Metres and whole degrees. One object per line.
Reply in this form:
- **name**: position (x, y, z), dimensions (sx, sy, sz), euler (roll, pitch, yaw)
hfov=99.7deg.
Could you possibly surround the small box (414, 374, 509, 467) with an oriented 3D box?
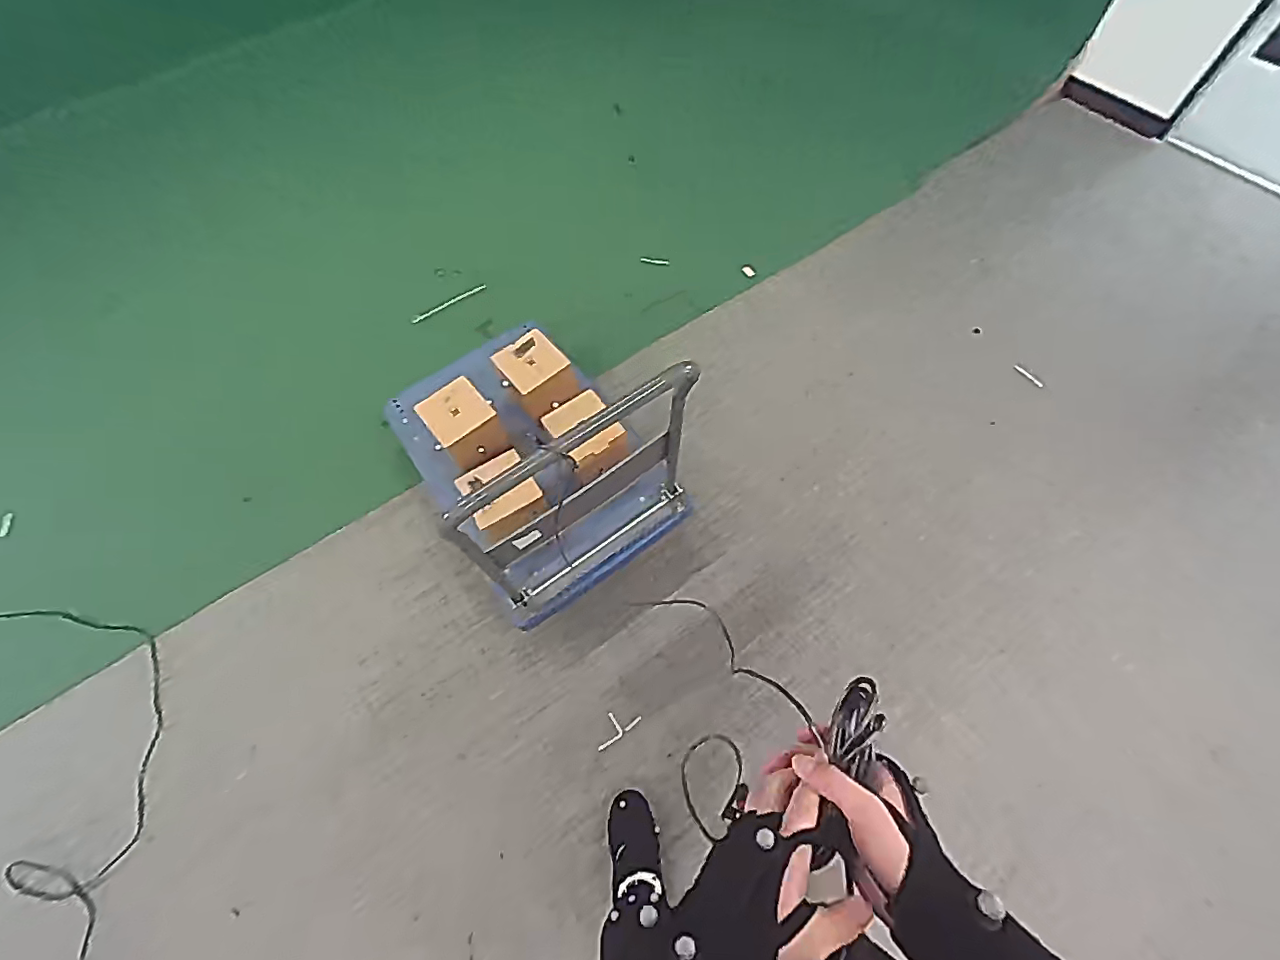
- **small box**: position (-0.498, -0.158, 1.538), dimensions (0.168, 0.176, 0.179), euler (-37, 68, -15)

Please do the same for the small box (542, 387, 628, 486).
- **small box**: position (-0.147, -0.116, 1.499), dimensions (0.168, 0.176, 0.179), euler (-33, 68, -12)

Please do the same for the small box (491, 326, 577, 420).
- **small box**: position (-0.307, -0.310, 1.599), dimensions (0.168, 0.176, 0.179), euler (-38, 69, -13)
